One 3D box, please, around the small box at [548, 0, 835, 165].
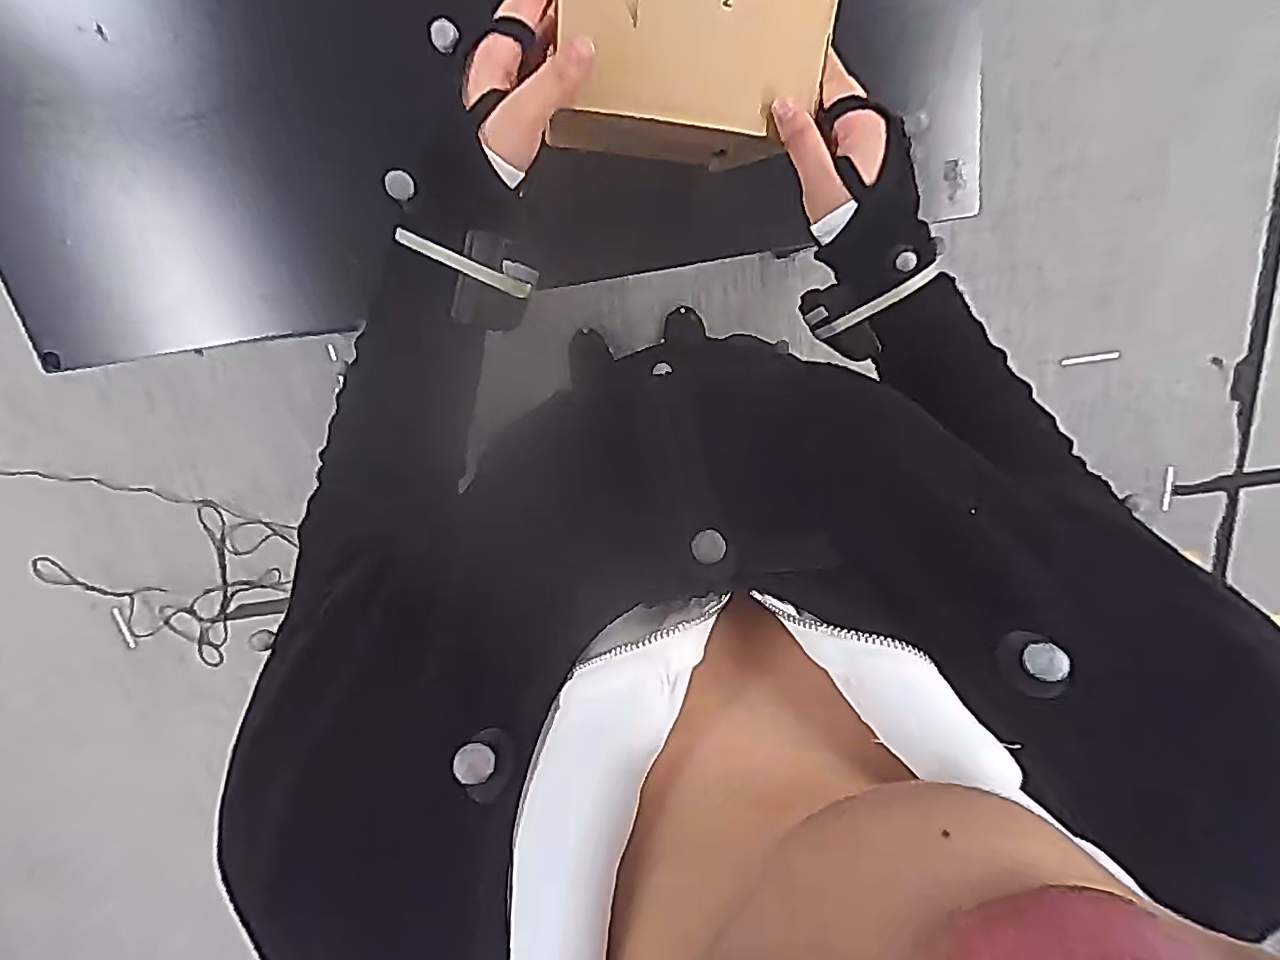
[{"bbox_3d":[0.024,-0.337,0.391,0.179,0.176,0.168,0,113,-10],"label":"small box"}]
